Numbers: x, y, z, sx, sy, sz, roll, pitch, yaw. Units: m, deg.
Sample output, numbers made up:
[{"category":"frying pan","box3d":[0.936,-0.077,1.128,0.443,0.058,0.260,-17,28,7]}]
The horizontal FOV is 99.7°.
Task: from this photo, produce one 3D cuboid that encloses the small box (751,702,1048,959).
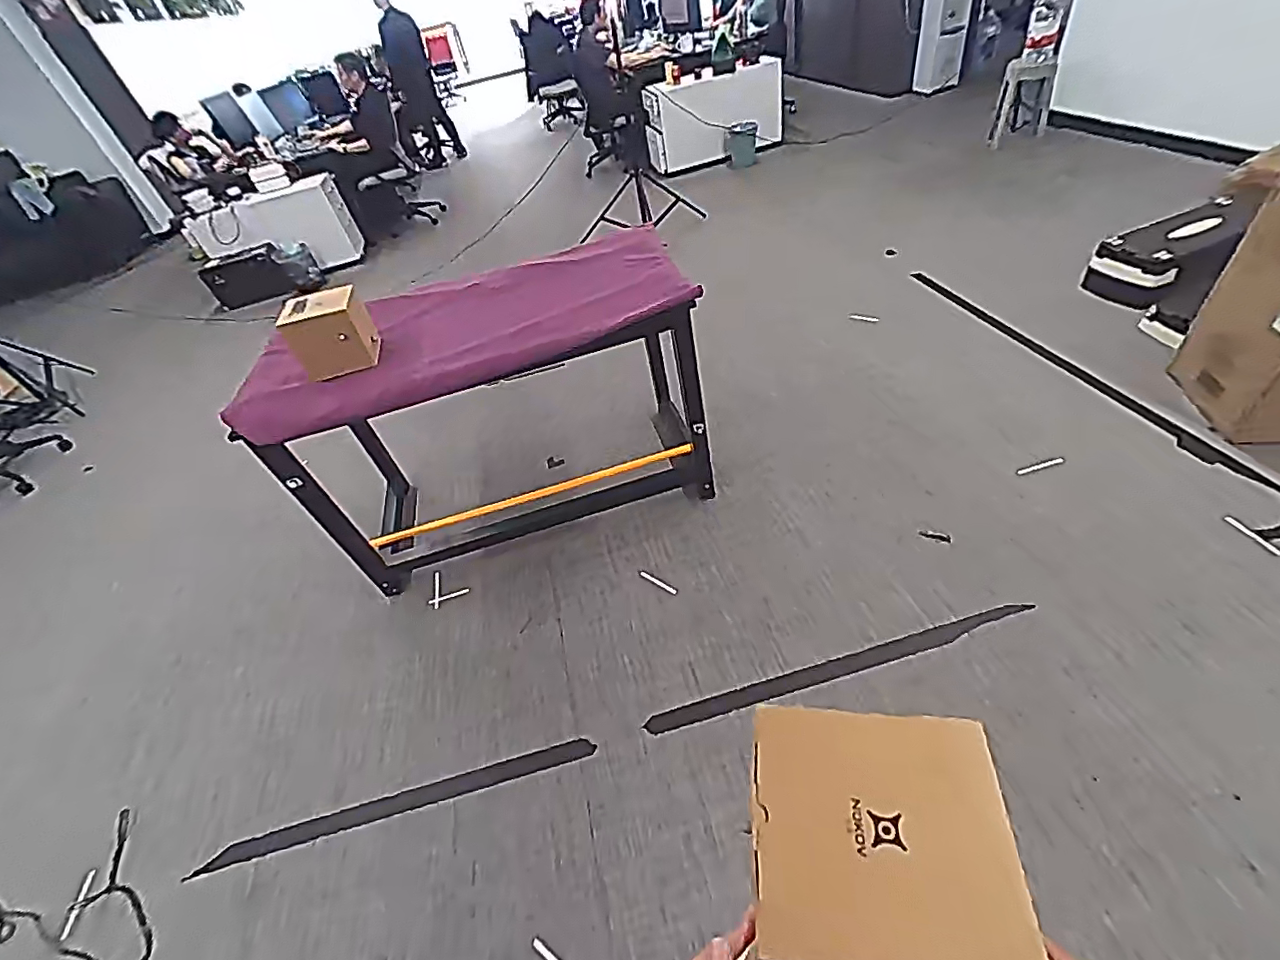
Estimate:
[{"category":"small box","box3d":[0.181,0.299,0.438,0.179,0.176,0.168,-1,47,12]}]
